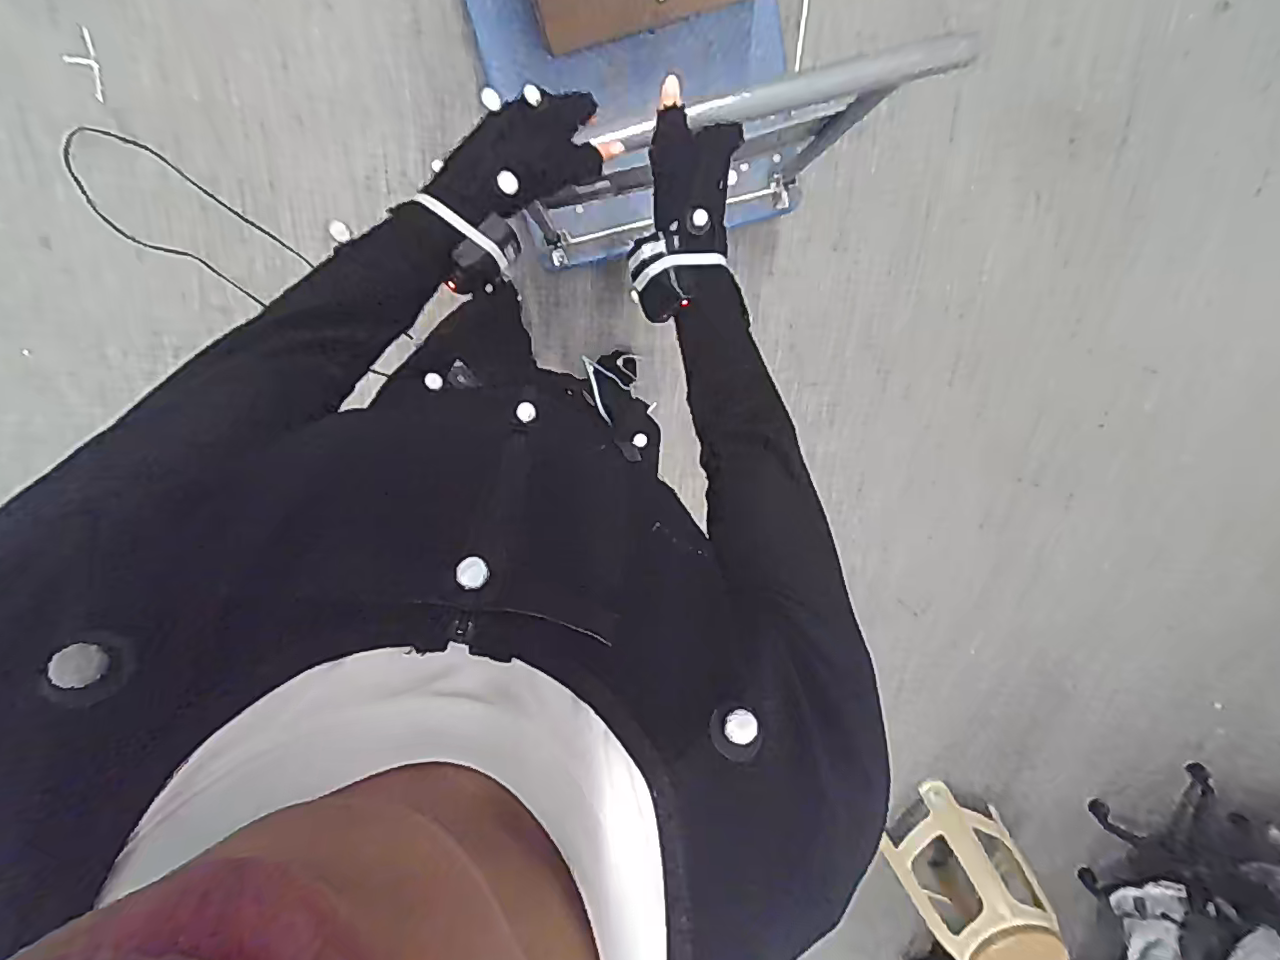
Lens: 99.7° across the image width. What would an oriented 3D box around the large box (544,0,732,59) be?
[{"bbox_3d":[0.002,-0.957,0.850,0.408,0.320,0.320,-16,108,4],"label":"large box"}]
